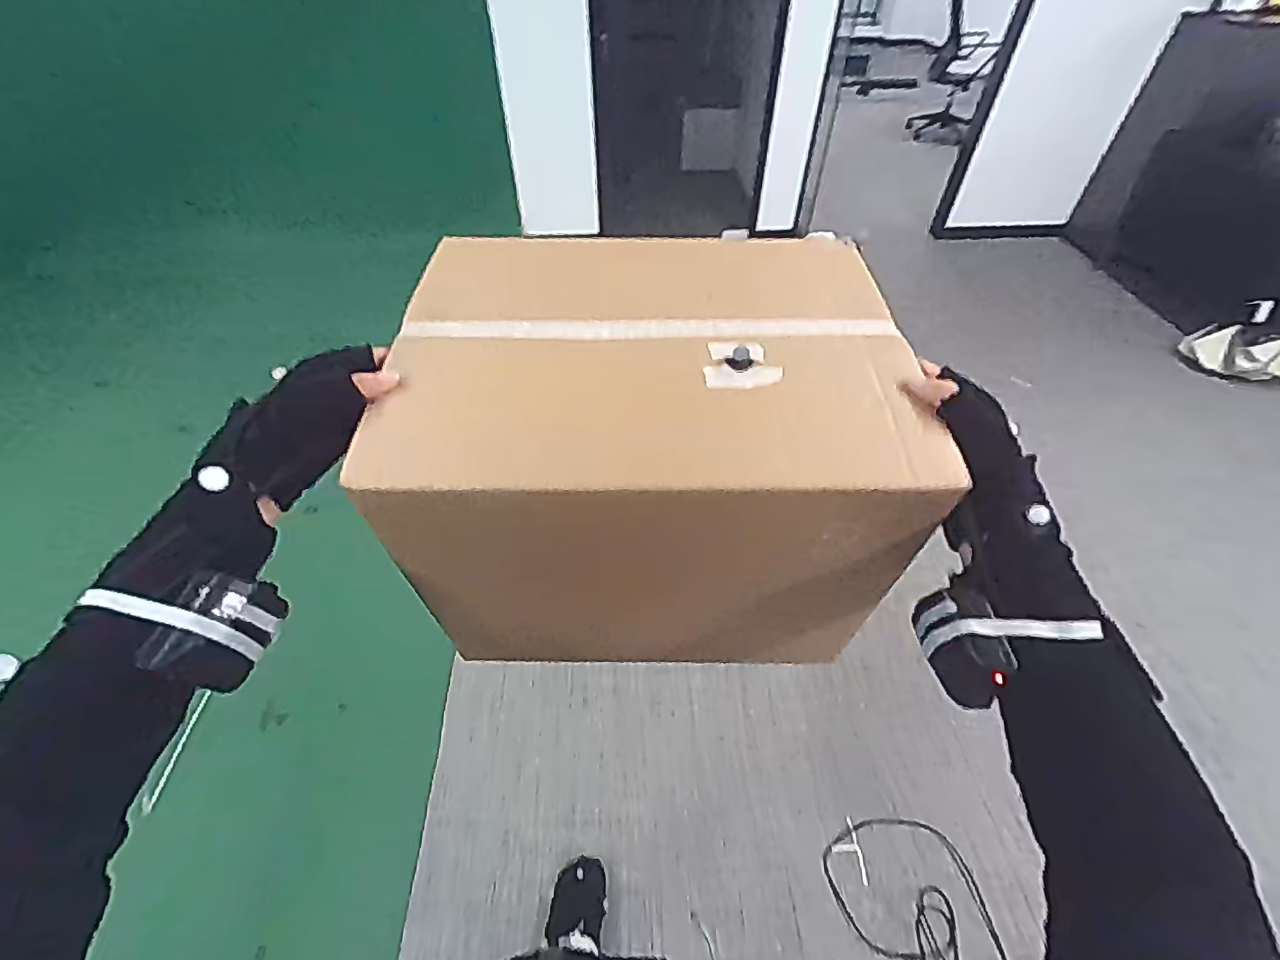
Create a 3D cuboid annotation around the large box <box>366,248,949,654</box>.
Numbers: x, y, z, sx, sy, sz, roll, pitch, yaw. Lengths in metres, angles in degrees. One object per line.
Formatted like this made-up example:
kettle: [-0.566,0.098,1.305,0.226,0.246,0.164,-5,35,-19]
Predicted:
large box: [0.009,-0.021,0.569,0.408,0.320,0.320,1,52,0]
